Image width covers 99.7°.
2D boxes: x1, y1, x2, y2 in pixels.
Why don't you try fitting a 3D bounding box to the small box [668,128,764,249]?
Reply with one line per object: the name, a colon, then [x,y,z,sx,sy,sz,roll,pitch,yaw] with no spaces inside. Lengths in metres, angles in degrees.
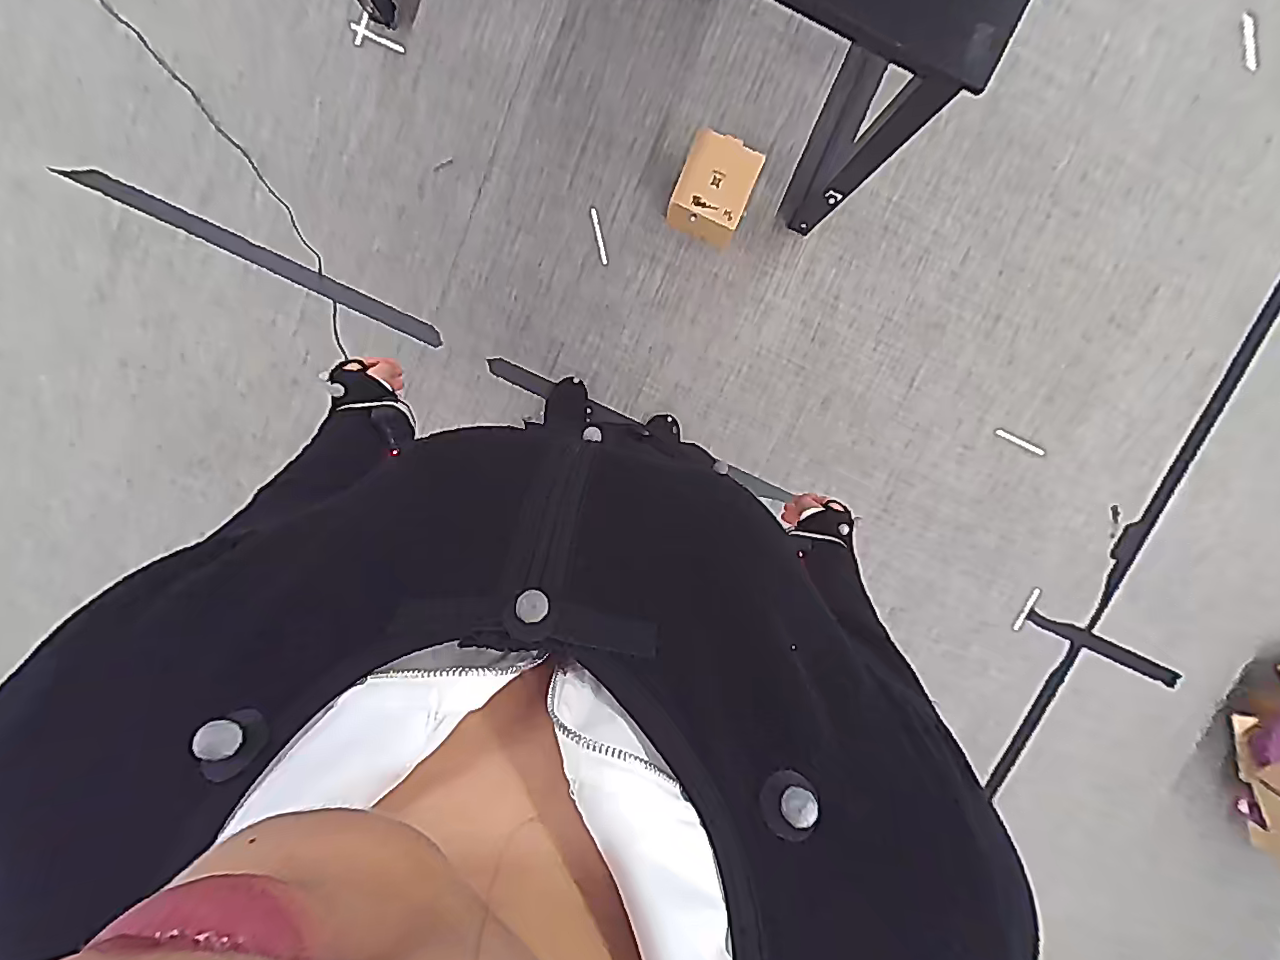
small box: [0.173,-0.692,1.303,0.168,0.176,0.179,23,98,-4]
